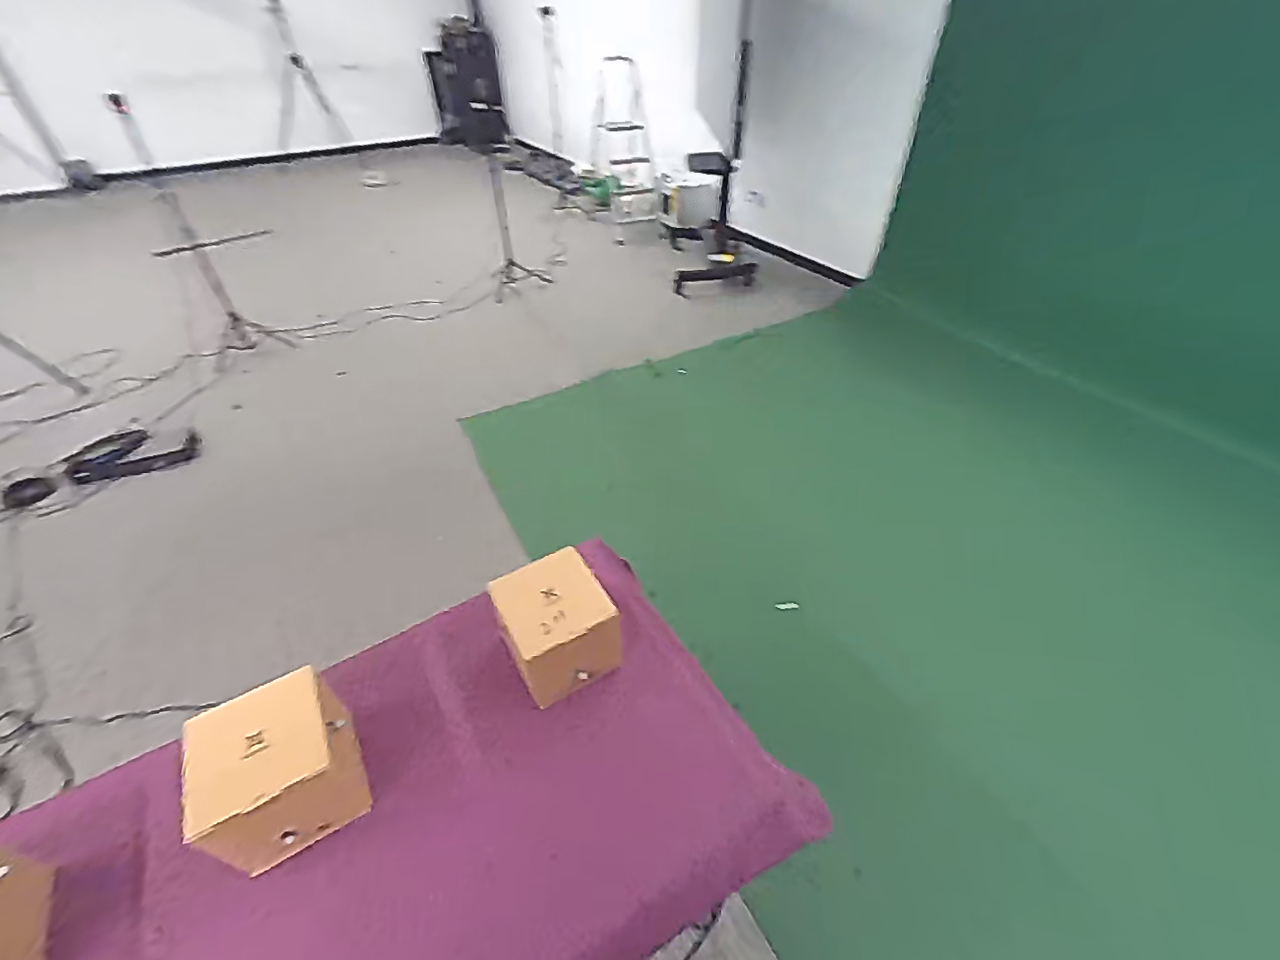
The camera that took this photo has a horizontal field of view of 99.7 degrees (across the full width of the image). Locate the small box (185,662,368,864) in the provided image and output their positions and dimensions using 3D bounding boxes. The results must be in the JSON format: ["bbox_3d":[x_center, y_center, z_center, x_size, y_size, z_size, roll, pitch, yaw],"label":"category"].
[{"bbox_3d":[-0.522,0.410,0.787,0.168,0.176,0.179,-23,48,-24],"label":"small box"}]

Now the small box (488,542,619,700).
[{"bbox_3d":[-0.150,0.249,0.959,0.168,0.176,0.179,-23,47,-22],"label":"small box"}]
